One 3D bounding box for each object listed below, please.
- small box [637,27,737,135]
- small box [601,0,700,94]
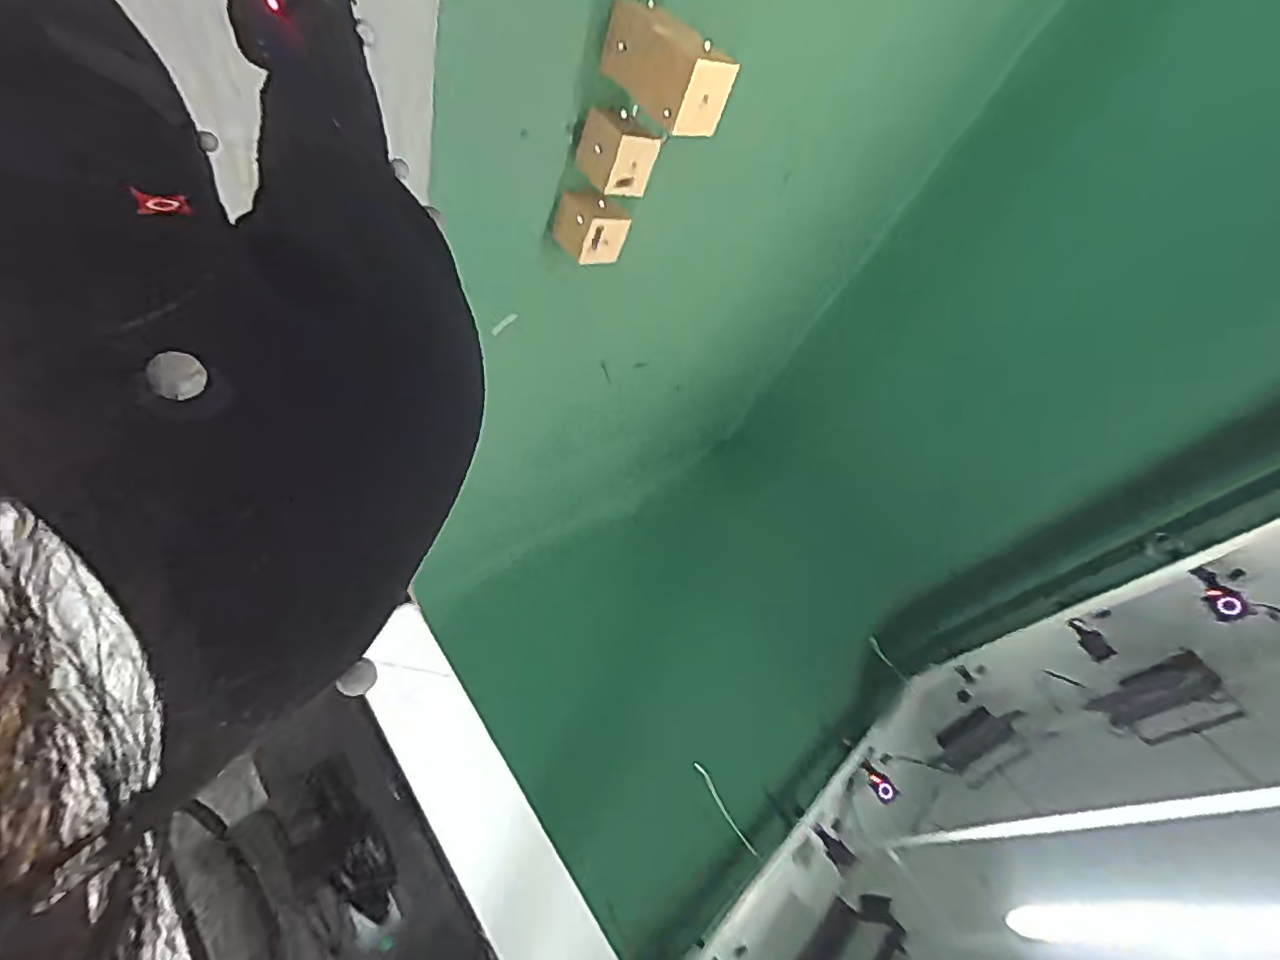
[{"bbox_3d":[0.116,-1.046,1.422,0.168,0.176,0.179,-26,159,-35],"label":"small box"},{"bbox_3d":[0.021,-1.172,1.468,0.179,0.176,0.168,-23,158,-36],"label":"small box"}]
